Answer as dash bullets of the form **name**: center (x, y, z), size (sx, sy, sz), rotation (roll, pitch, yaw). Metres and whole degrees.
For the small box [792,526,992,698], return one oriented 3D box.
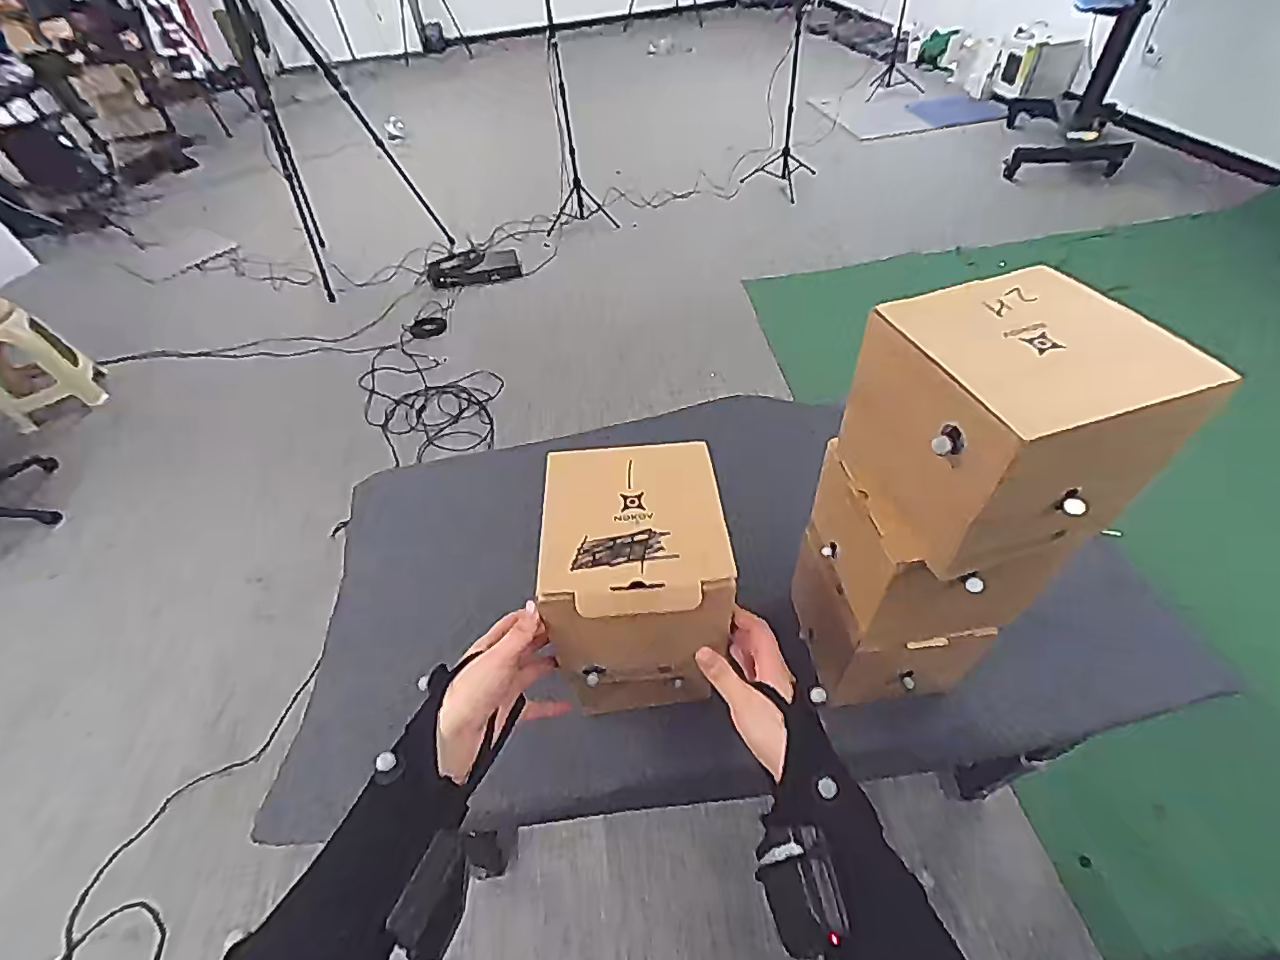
- **small box**: center (0.306, 0.167, 0.702), size (0.168, 0.176, 0.179), rotation (-8, 48, 1)

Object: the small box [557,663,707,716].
- **small box**: center (-0.008, 0.195, 0.720), size (0.179, 0.176, 0.168), rotation (-9, 46, 0)

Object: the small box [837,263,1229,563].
- **small box**: center (0.291, -0.050, 0.456), size (0.168, 0.176, 0.179), rotation (-16, 47, -7)

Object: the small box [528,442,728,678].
- **small box**: center (-0.008, 0.086, 0.544), size (0.168, 0.176, 0.179), rotation (-4, 46, 0)

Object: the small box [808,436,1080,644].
- **small box**: center (0.299, 0.056, 0.582), size (0.179, 0.176, 0.168), rotation (-10, 47, -1)
